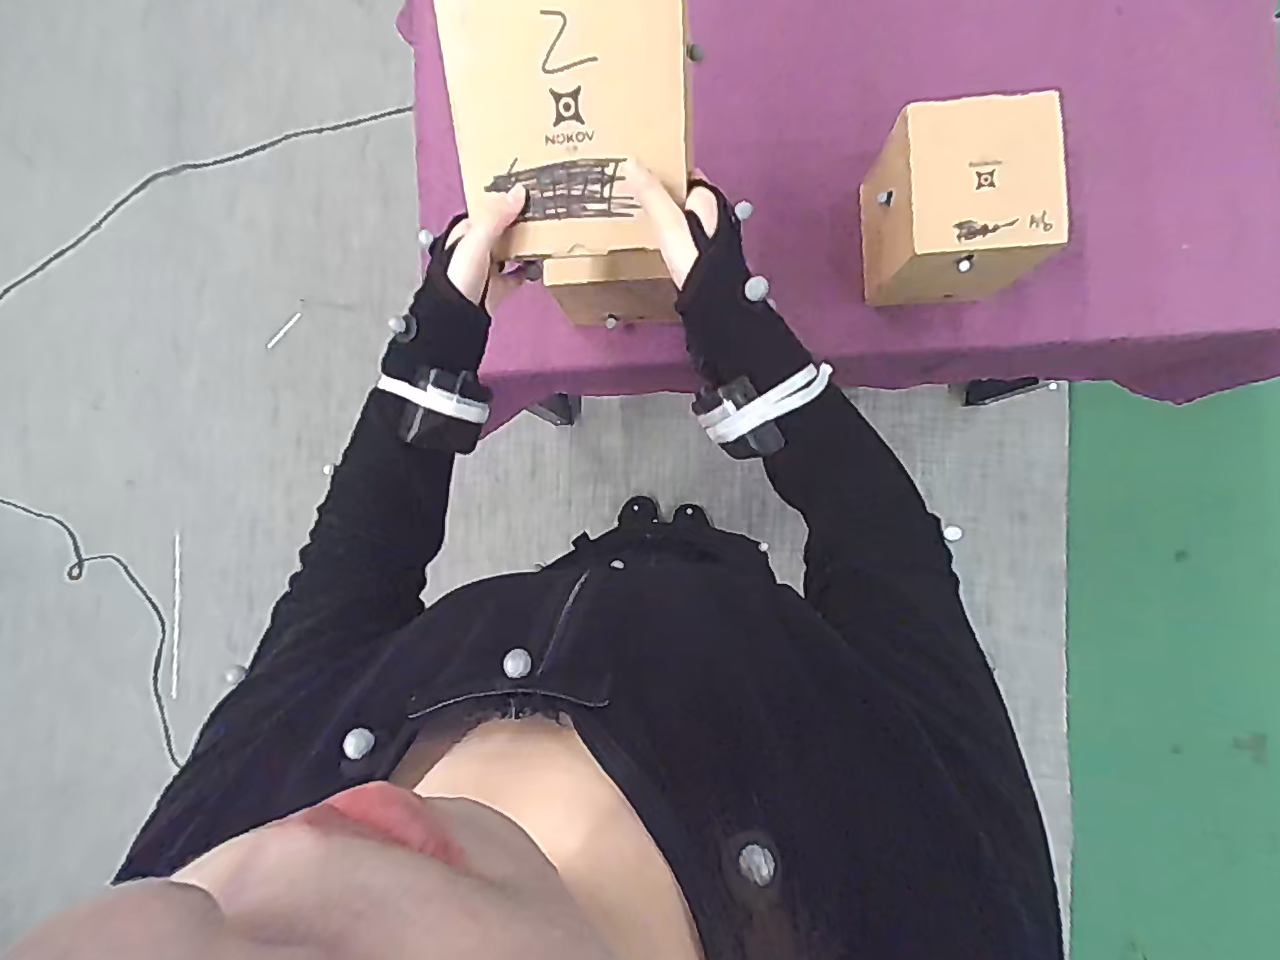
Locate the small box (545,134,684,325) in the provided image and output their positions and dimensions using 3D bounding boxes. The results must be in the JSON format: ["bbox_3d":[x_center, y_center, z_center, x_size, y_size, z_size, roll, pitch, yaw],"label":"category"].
[{"bbox_3d":[-0.026,-0.319,0.719,0.168,0.176,0.179,-1,89,5],"label":"small box"}]

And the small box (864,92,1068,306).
[{"bbox_3d":[0.393,-0.339,0.682,0.168,0.176,0.179,-2,88,6],"label":"small box"}]
